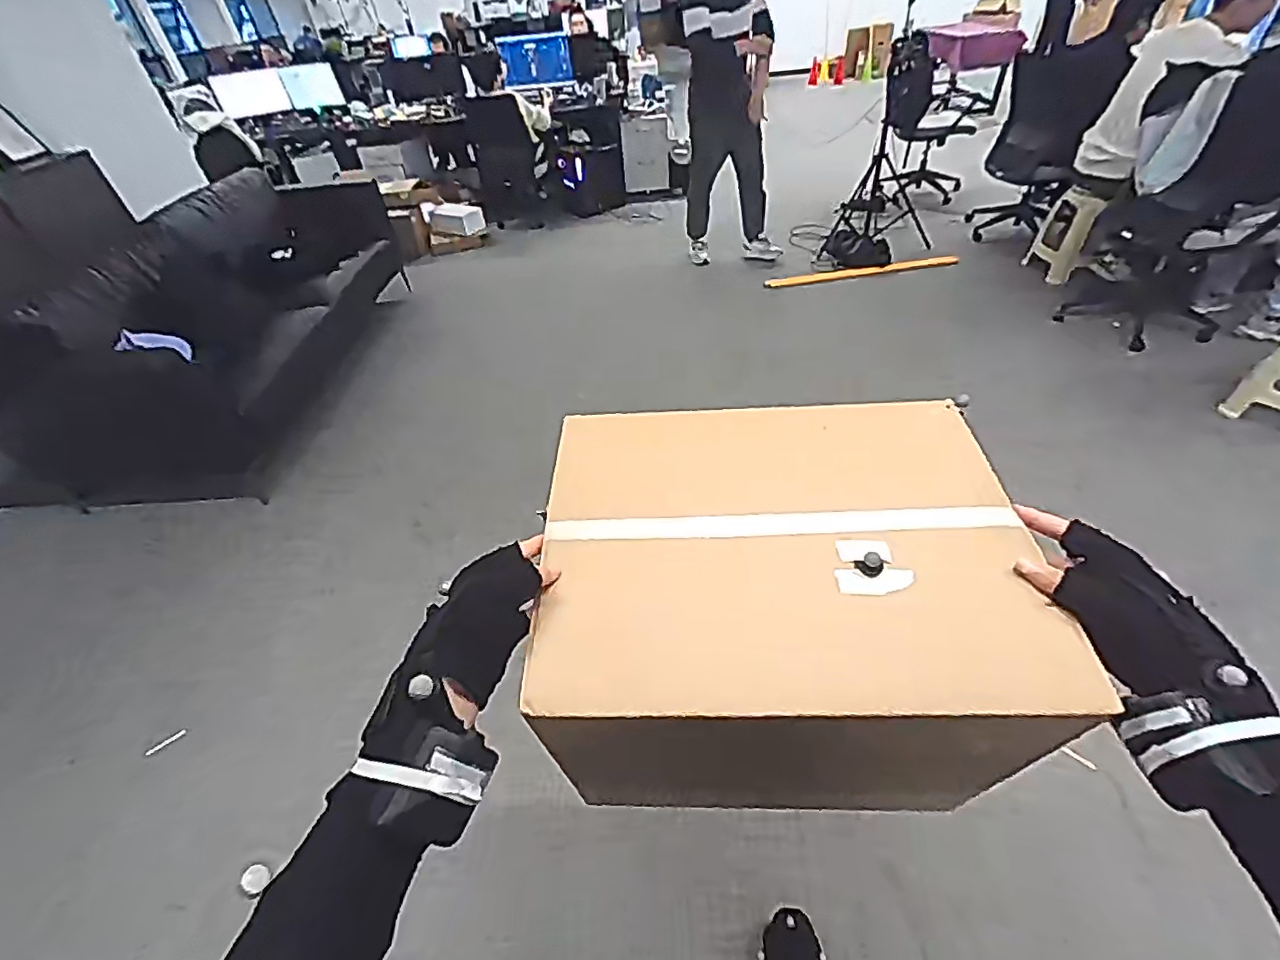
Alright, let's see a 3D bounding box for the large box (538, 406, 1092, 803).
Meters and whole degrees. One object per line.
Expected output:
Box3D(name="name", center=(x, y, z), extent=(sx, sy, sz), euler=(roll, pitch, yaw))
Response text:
Box3D(name="large box", center=(0.130, 0.144, 0.595), extent=(0.408, 0.320, 0.320), euler=(-2, 49, 4))
